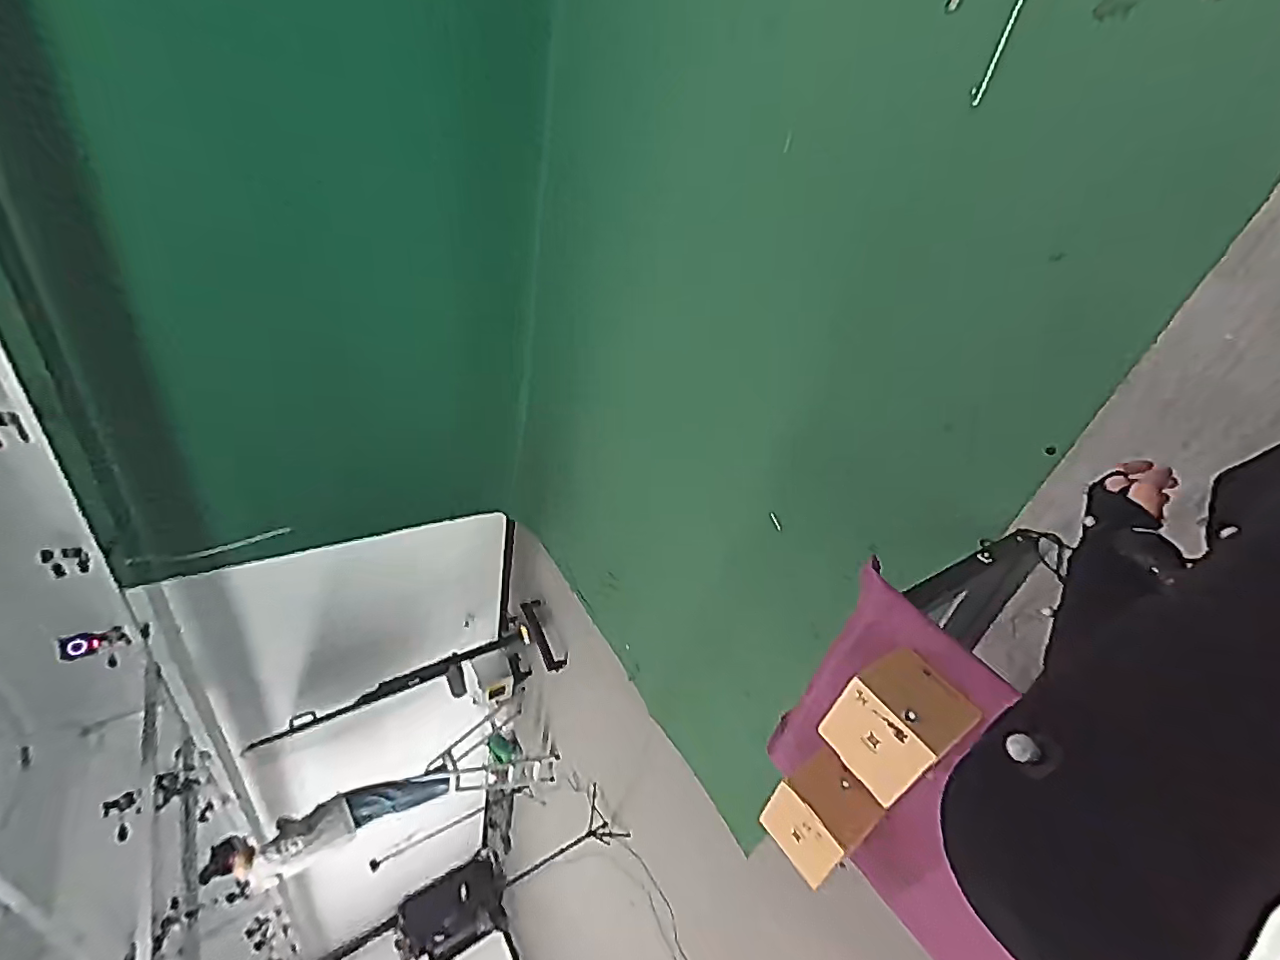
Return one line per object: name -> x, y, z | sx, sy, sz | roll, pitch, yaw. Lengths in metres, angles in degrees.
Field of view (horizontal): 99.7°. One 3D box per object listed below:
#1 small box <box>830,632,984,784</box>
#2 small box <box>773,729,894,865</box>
small box -> 0.499, 0.420, 1.015 | 0.168, 0.176, 0.179 | 46, 136, 38
small box -> 0.435, 0.706, 1.217 | 0.168, 0.176, 0.179 | 43, 134, 38
